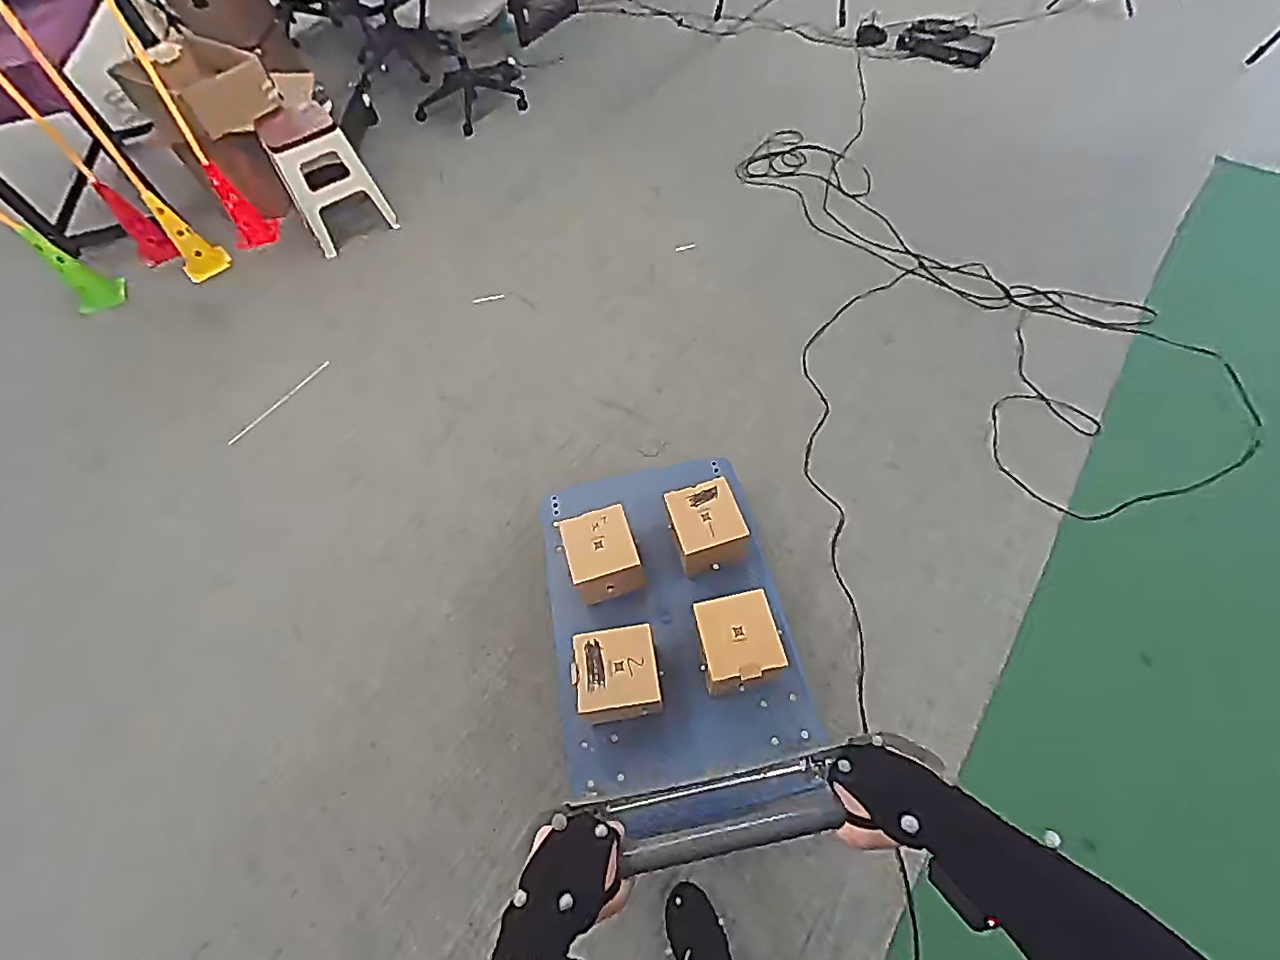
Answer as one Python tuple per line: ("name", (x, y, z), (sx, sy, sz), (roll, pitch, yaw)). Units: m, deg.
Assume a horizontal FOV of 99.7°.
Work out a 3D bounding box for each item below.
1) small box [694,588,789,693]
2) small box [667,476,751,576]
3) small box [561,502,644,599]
("small box", (0.222, 0.372, 1.240), (0.168, 0.176, 0.179), (-12, 60, -2))
("small box", (0.171, 0.122, 1.392), (0.168, 0.176, 0.179), (-16, 60, -4))
("small box", (-0.091, 0.188, 1.376), (0.168, 0.176, 0.179), (-16, 59, -5))
